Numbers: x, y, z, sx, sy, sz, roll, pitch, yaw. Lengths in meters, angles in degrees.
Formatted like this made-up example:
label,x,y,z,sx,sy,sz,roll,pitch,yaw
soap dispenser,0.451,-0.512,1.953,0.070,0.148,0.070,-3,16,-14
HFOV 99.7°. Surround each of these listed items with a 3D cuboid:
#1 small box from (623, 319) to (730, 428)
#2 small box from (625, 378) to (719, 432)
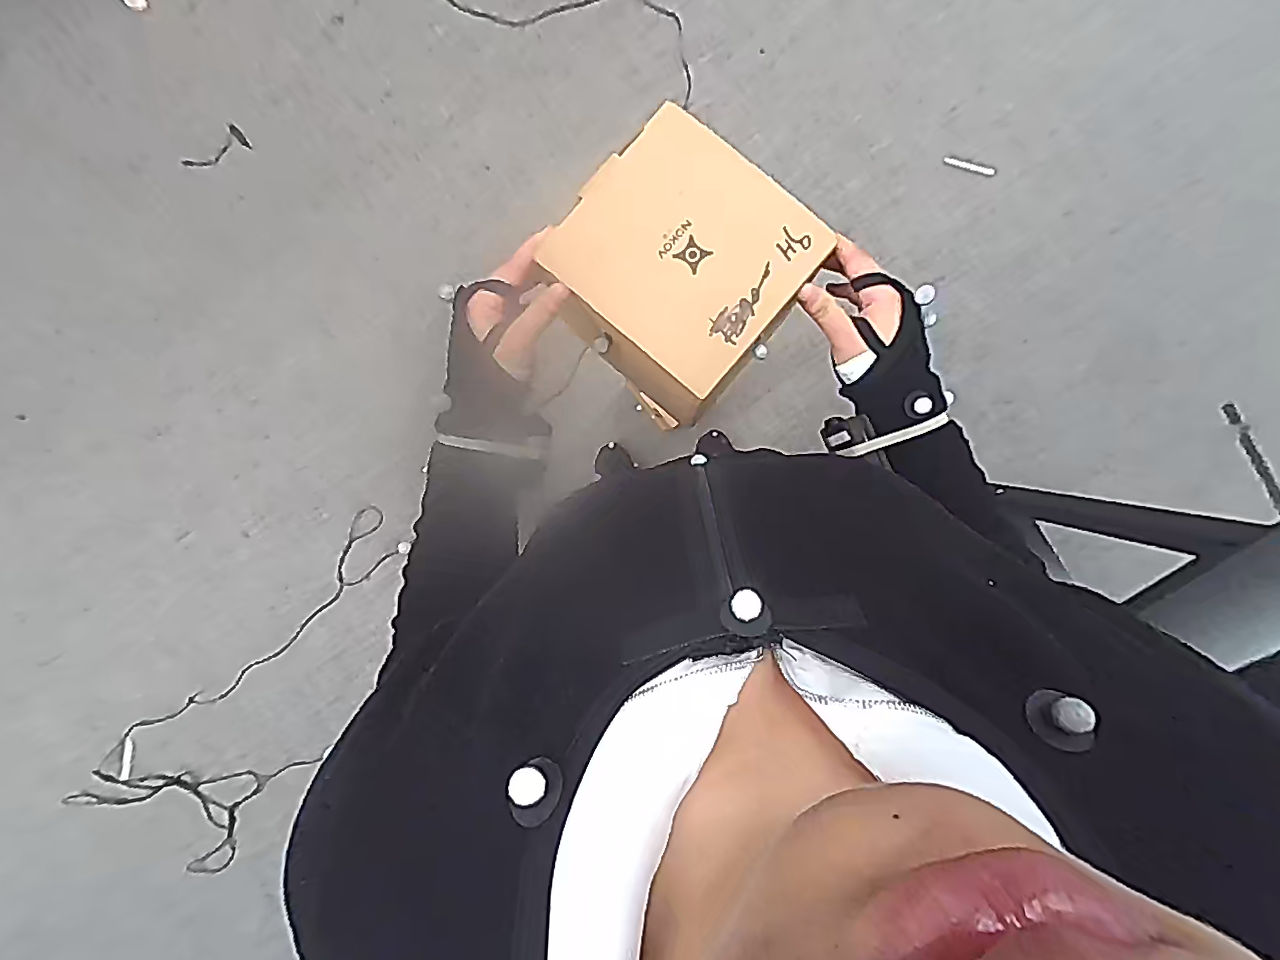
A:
label,x,y,z,sx,sy,sz,roll,pitch,yaw
small box,0.080,-0.233,1.236,0.179,0.176,0.168,-41,94,2
small box,0.078,-0.241,1.398,0.179,0.176,0.168,-38,93,4
